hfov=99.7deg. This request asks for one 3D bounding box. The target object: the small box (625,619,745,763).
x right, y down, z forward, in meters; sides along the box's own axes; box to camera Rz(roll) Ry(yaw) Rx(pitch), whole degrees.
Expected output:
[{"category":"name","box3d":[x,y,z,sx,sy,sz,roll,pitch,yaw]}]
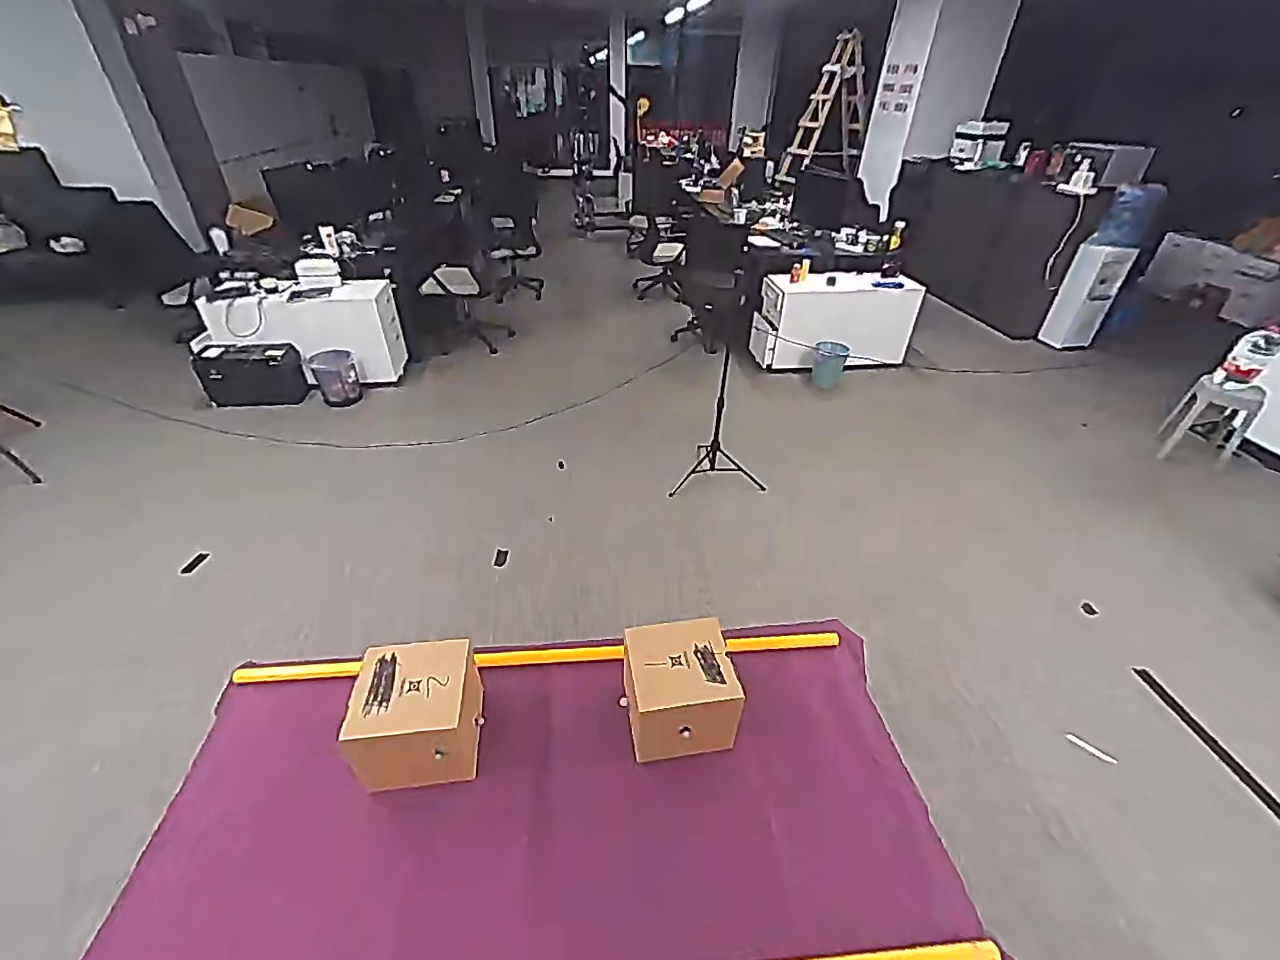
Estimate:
[{"category":"small box","box3d":[0.069,0.373,0.958,0.179,0.176,0.168,-6,37,-7]}]
